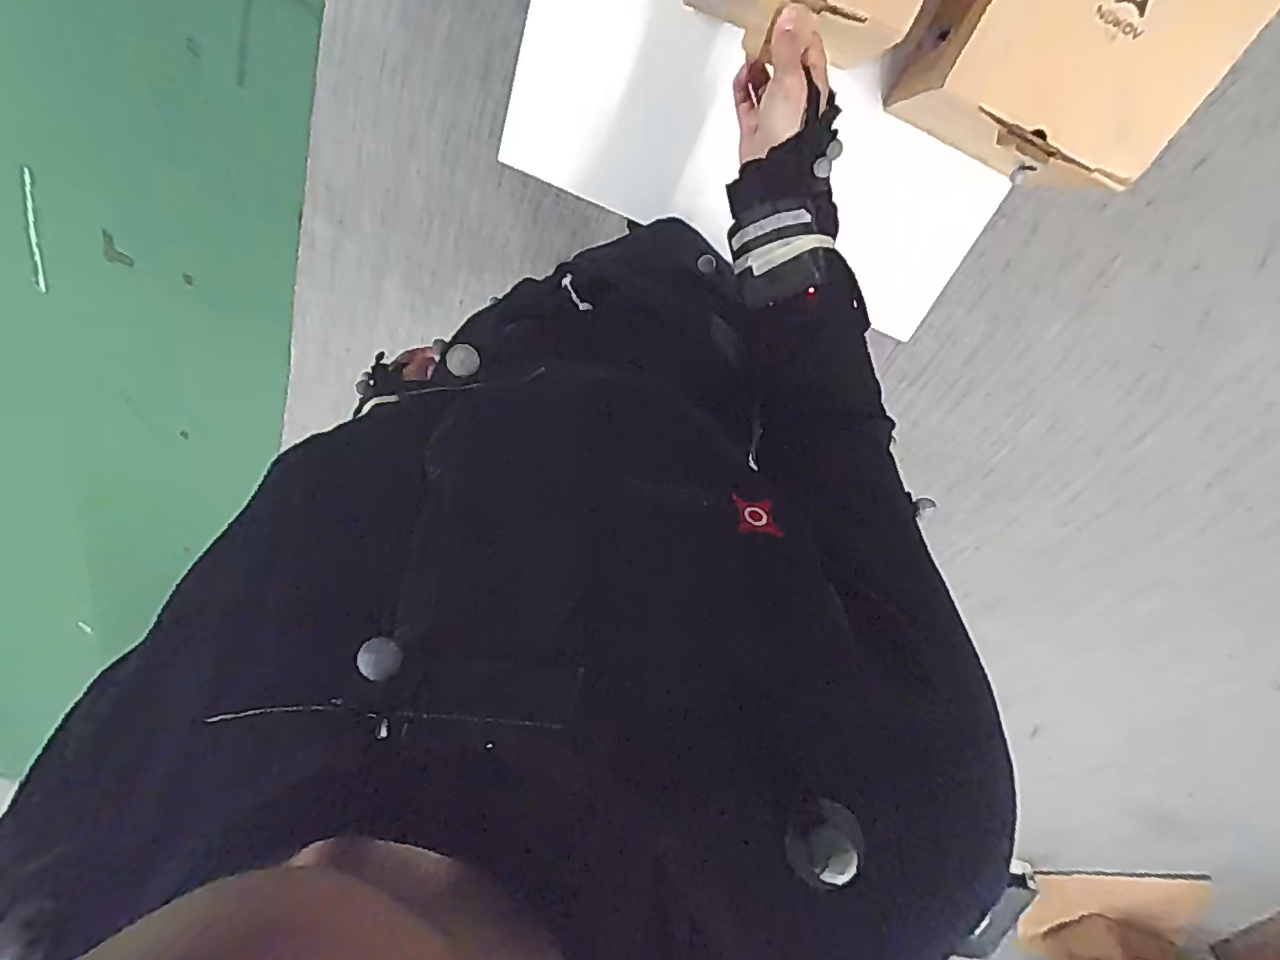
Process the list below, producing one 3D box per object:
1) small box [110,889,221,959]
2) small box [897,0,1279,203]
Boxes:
[{"bbox_3d":[-1.238,1.211,1.402,0.168,0.176,0.179,35,118,-11],"label":"small box"},{"bbox_3d":[0.332,-0.344,0.425,0.168,0.176,0.179,23,120,-6],"label":"small box"}]
